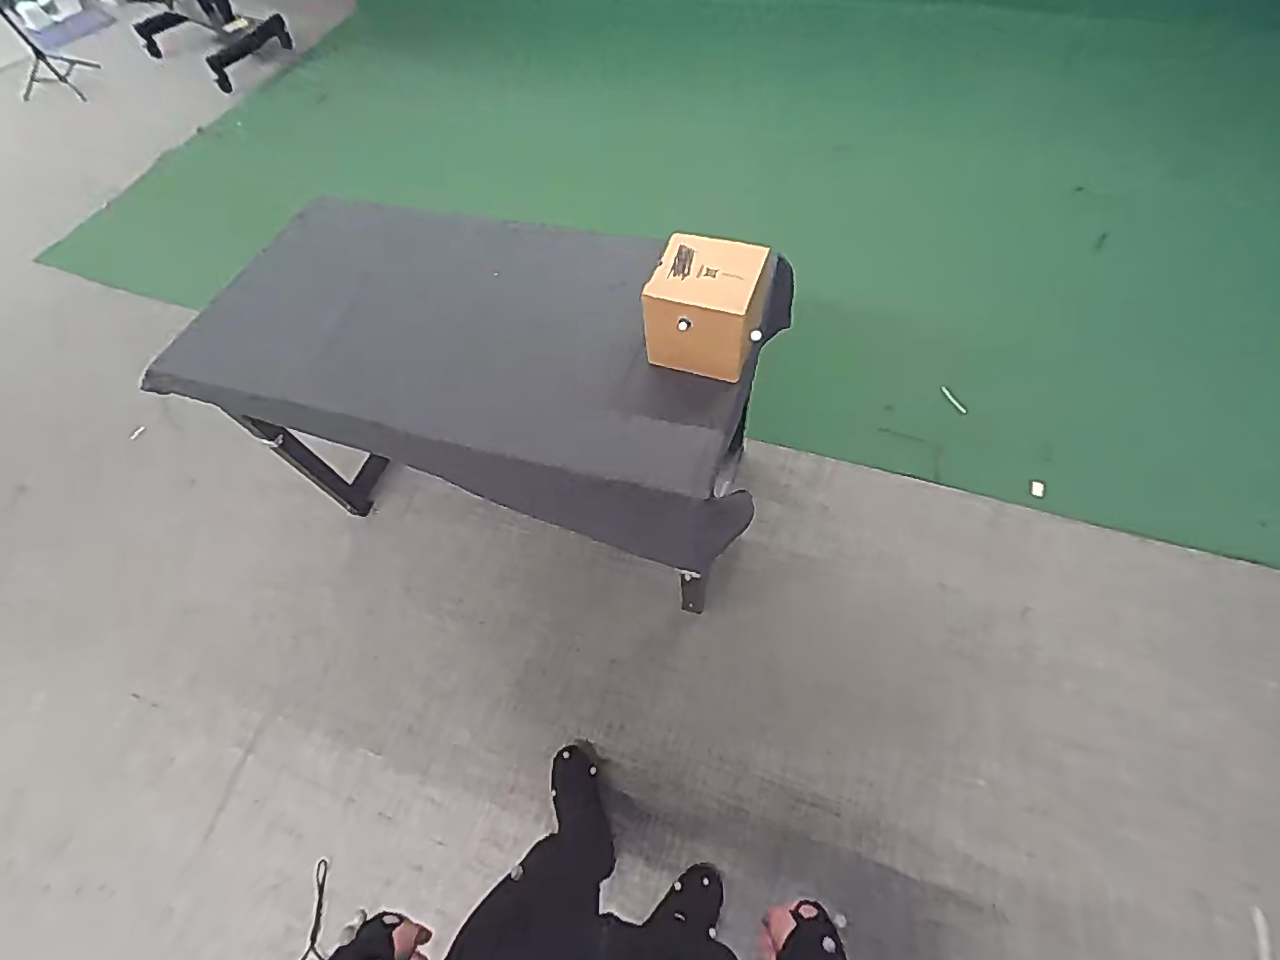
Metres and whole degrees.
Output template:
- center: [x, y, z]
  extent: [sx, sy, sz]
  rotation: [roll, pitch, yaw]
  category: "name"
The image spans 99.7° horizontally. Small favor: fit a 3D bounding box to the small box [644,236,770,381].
- center: [0.116, -0.302, 0.970]
  extent: [0.179, 0.176, 0.168]
  rotation: [17, 62, 12]
  category: "small box"
